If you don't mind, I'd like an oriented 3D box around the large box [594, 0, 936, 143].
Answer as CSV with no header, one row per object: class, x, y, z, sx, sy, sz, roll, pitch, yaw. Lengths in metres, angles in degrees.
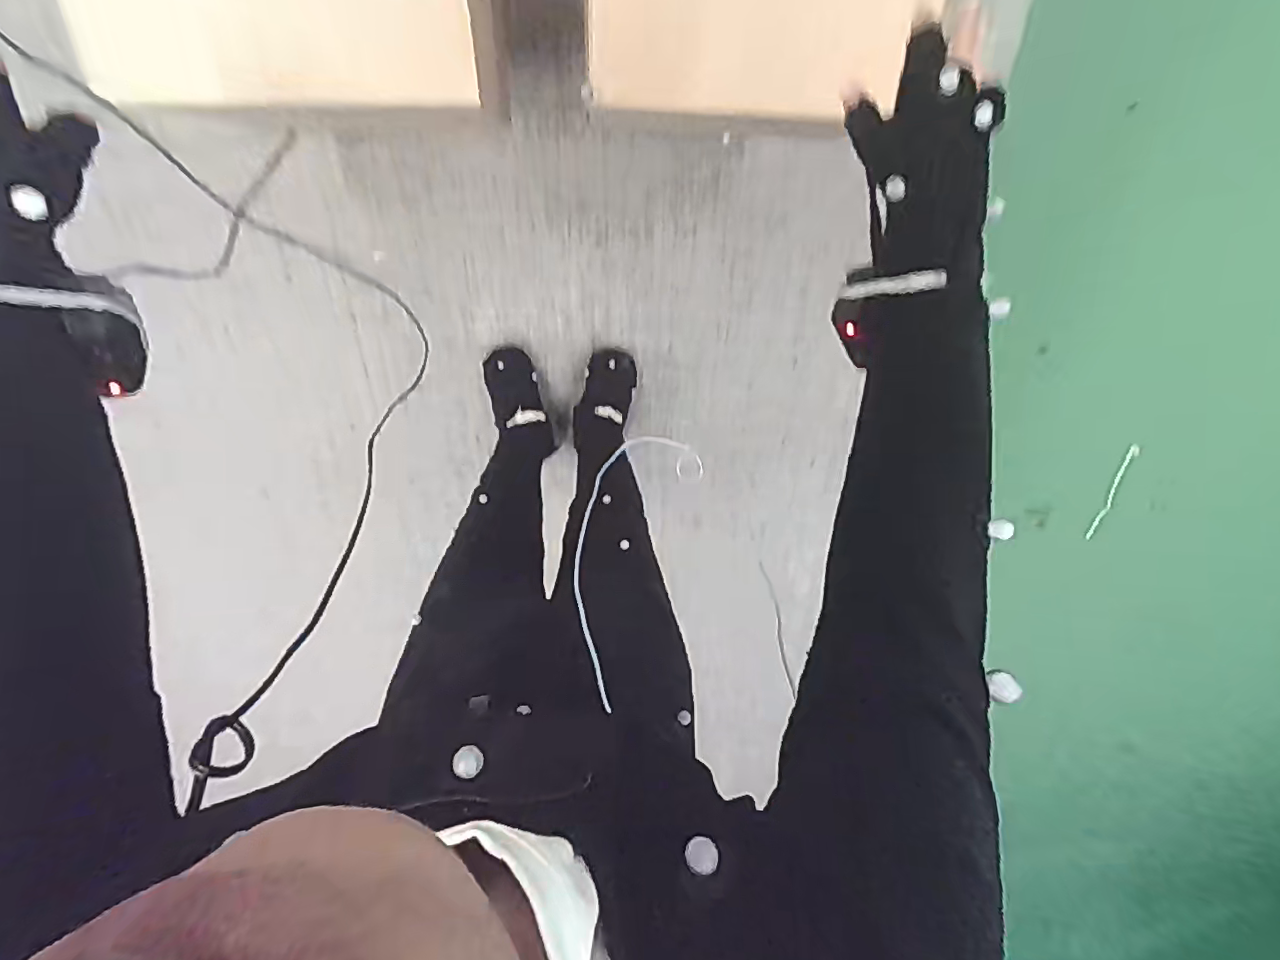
large box,0.142,-0.652,0.735,0.408,0.320,0.320,0,118,-5
